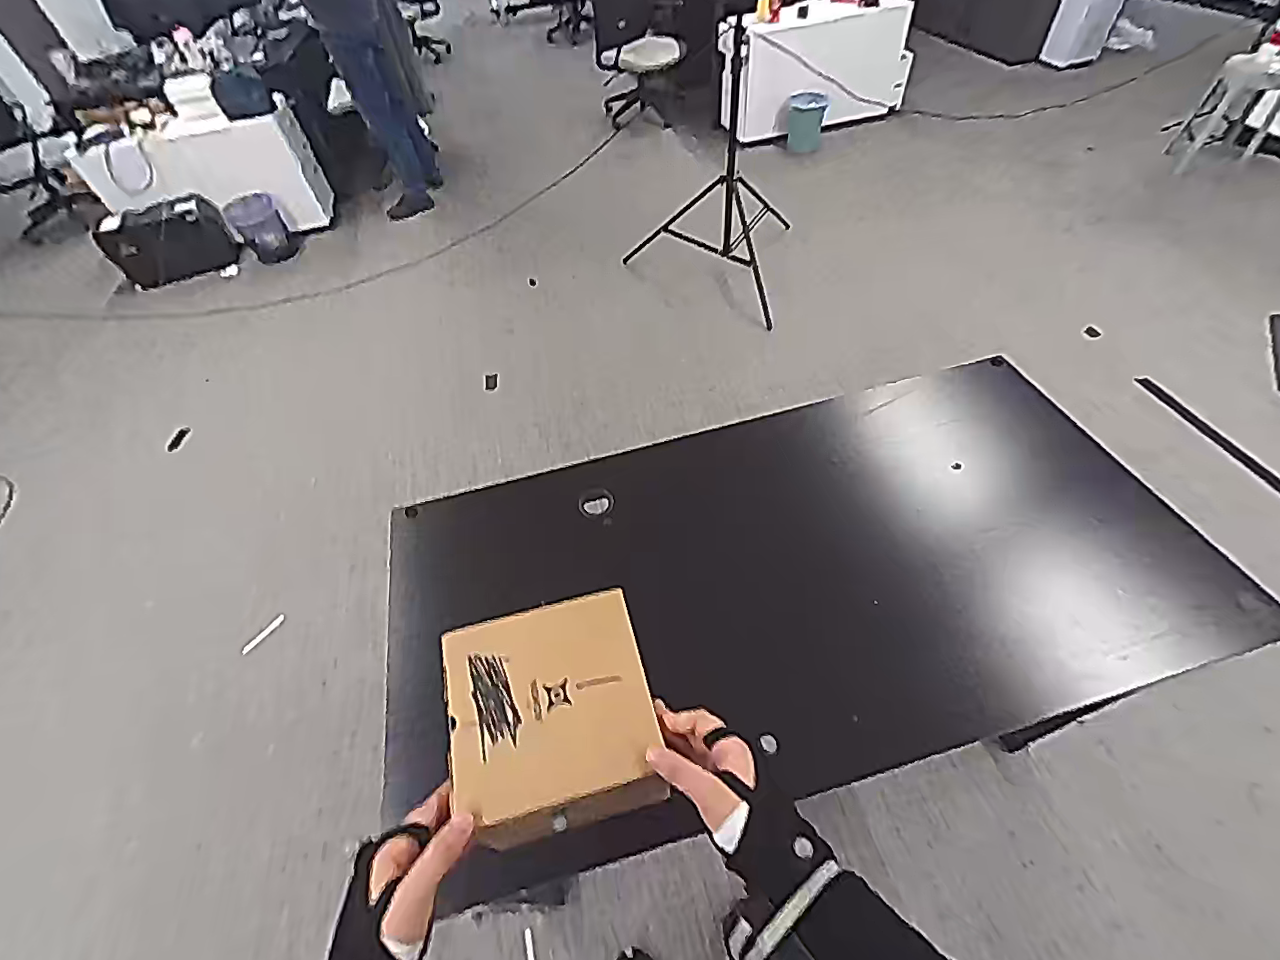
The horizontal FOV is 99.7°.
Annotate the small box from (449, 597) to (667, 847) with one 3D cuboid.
[{"bbox_3d":[-0.076,0.245,0.541,0.179,0.176,0.168,-13,53,-8],"label":"small box"}]
